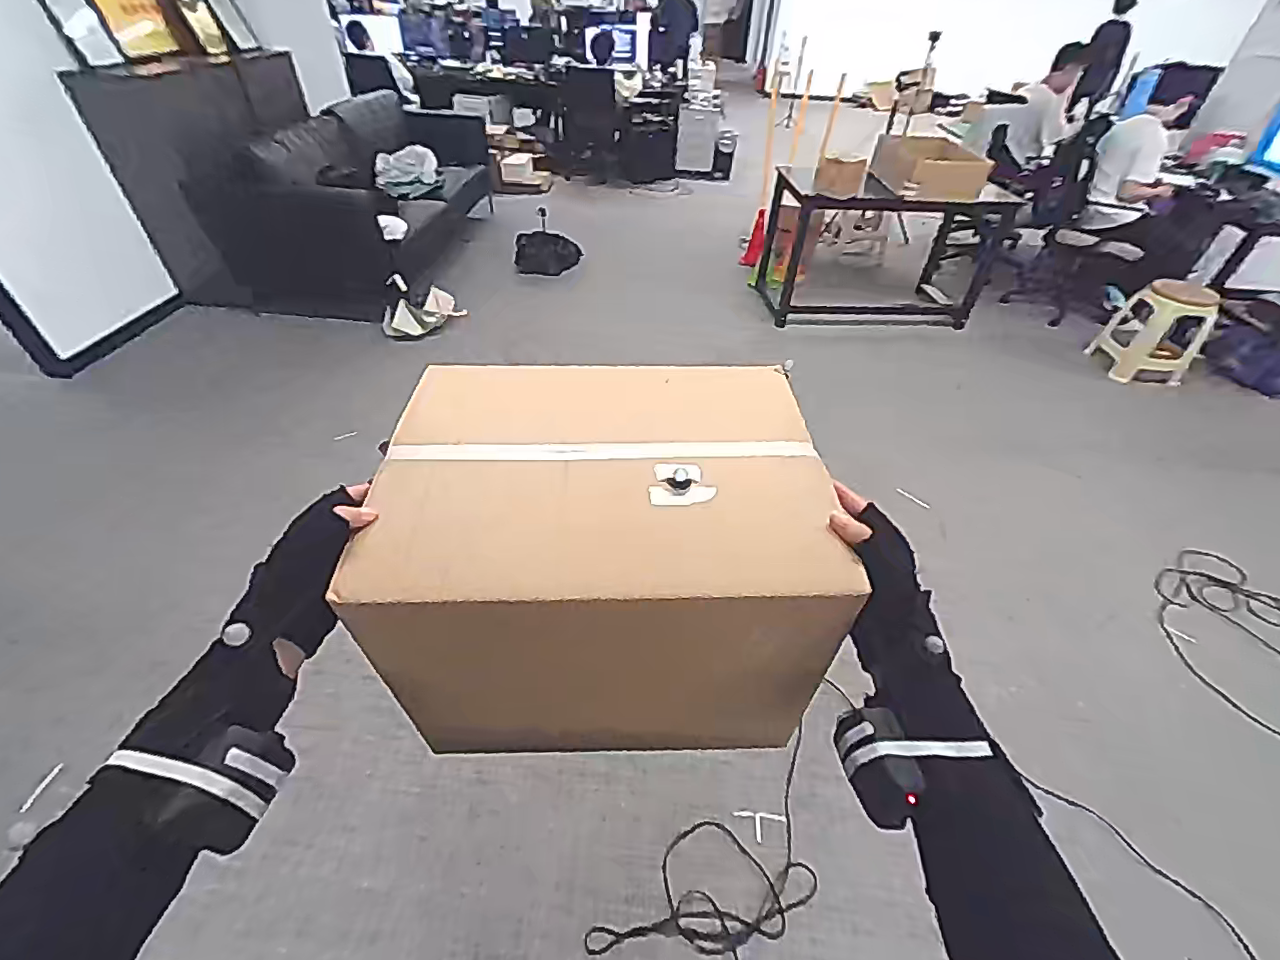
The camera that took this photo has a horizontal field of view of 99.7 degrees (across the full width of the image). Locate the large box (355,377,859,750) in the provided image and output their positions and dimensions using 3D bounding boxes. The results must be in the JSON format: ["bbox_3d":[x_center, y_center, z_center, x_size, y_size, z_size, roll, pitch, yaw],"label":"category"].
[{"bbox_3d":[-0.034,0.092,0.628,0.408,0.320,0.320,0,45,-3],"label":"large box"}]
